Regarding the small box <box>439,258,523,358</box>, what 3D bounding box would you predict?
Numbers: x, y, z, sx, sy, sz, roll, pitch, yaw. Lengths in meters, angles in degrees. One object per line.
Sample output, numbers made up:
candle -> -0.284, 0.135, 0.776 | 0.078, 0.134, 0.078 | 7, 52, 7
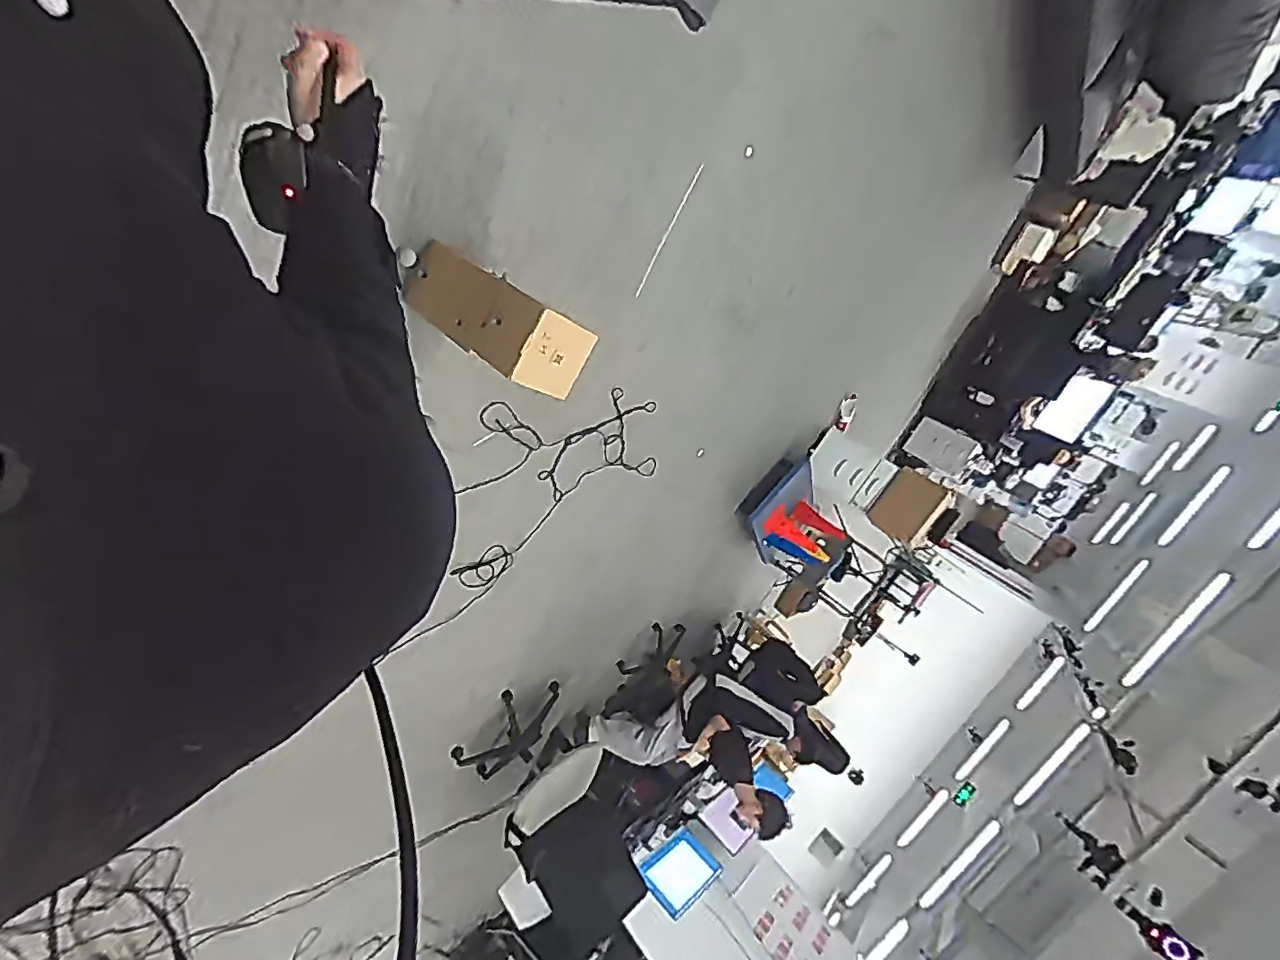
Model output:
small box -> -0.345, -0.390, 1.275 | 0.168, 0.176, 0.179 | 10, 113, -56

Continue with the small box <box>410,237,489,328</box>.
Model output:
small box -> -0.452, -0.474, 1.364 | 0.168, 0.176, 0.179 | 16, 111, -56

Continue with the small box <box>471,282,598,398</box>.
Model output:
small box -> -0.232, -0.308, 1.187 | 0.179, 0.176, 0.168 | 13, 112, -56
